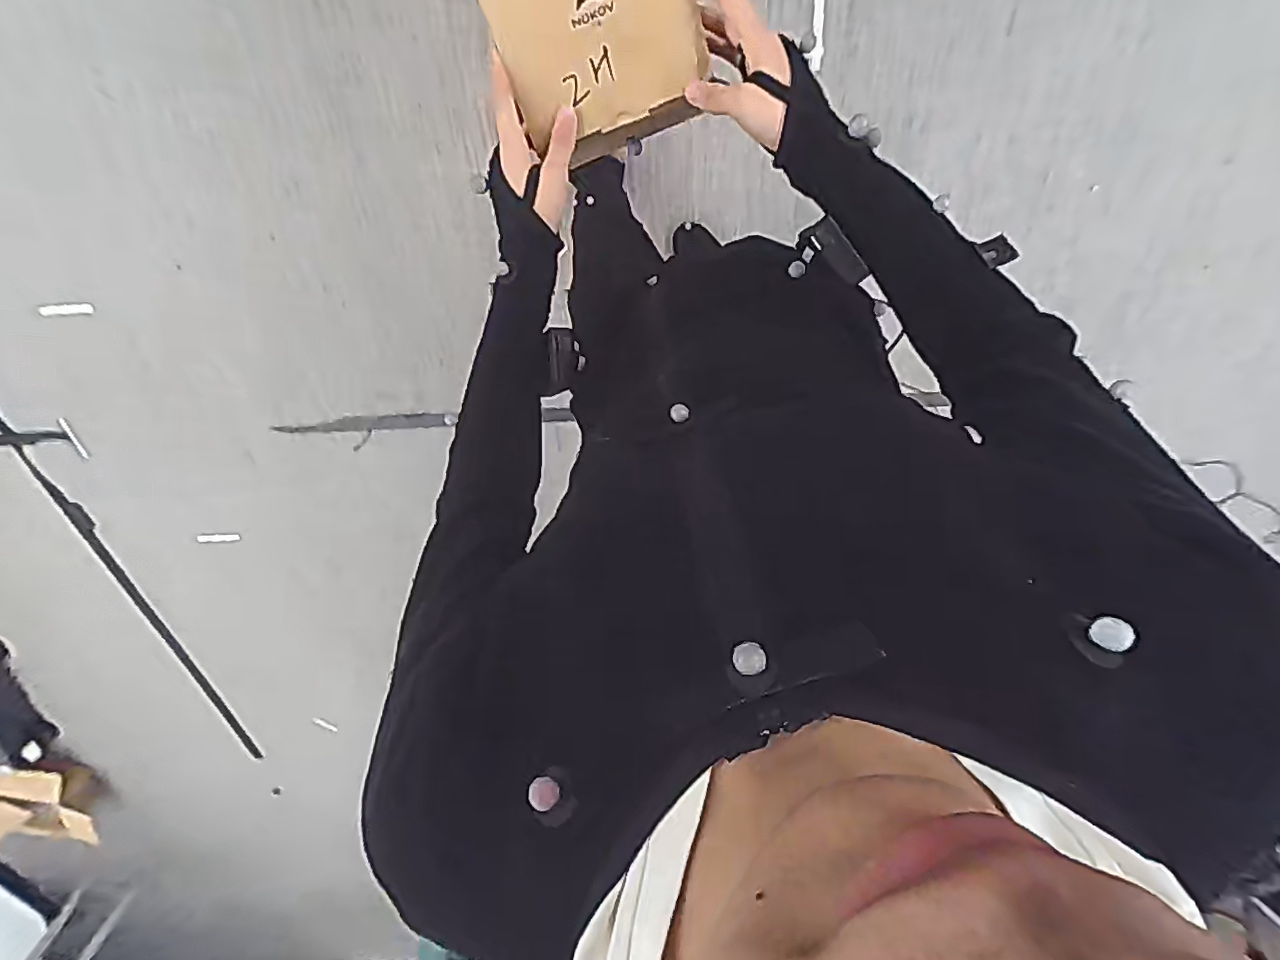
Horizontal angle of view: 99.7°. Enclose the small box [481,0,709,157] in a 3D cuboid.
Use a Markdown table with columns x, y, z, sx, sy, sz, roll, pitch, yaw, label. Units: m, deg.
| x | y | z | sx | sy | sz | roll | pitch | yaw | label |
| --- | --- | --- | --- | --- | --- | --- | --- | --- | --- |
| -0.041 | -0.423 | 0.496 | 0.168 | 0.176 | 0.179 | -15 | 116 | 11 | small box |
